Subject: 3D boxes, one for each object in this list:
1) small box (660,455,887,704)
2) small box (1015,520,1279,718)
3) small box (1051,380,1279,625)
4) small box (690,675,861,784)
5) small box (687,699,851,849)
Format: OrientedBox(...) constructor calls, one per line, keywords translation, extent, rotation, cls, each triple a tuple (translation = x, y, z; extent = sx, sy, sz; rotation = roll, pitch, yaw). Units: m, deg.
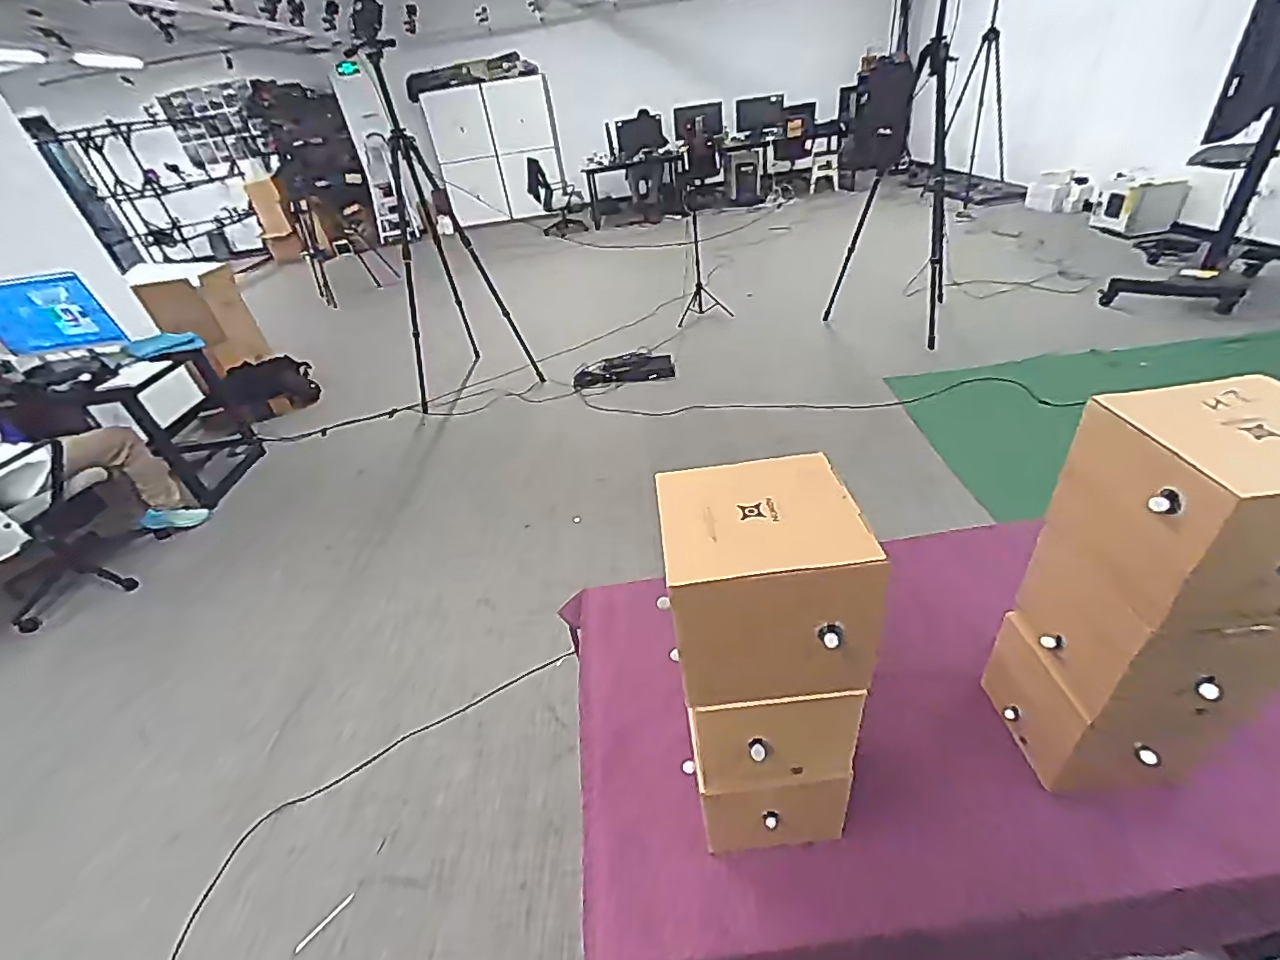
OrientedBox(translation=(0.117, 0.097, 0.535), extent=(0.179, 0.176, 0.168), rotation=(-7, 34, 4), cls="small box")
OrientedBox(translation=(0.579, 0.157, 0.623), extent=(0.168, 0.176, 0.179), rotation=(-5, 36, 6), cls="small box")
OrientedBox(translation=(0.554, 0.025, 0.526), extent=(0.168, 0.176, 0.179), rotation=(-6, 35, 5), cls="small box")
OrientedBox(translation=(0.140, 0.229, 0.628), extent=(0.168, 0.176, 0.179), rotation=(-7, 34, 3), cls="small box")
OrientedBox(translation=(0.160, 0.361, 0.720), extent=(0.179, 0.176, 0.168), rotation=(-9, 35, 2), cls="small box")
